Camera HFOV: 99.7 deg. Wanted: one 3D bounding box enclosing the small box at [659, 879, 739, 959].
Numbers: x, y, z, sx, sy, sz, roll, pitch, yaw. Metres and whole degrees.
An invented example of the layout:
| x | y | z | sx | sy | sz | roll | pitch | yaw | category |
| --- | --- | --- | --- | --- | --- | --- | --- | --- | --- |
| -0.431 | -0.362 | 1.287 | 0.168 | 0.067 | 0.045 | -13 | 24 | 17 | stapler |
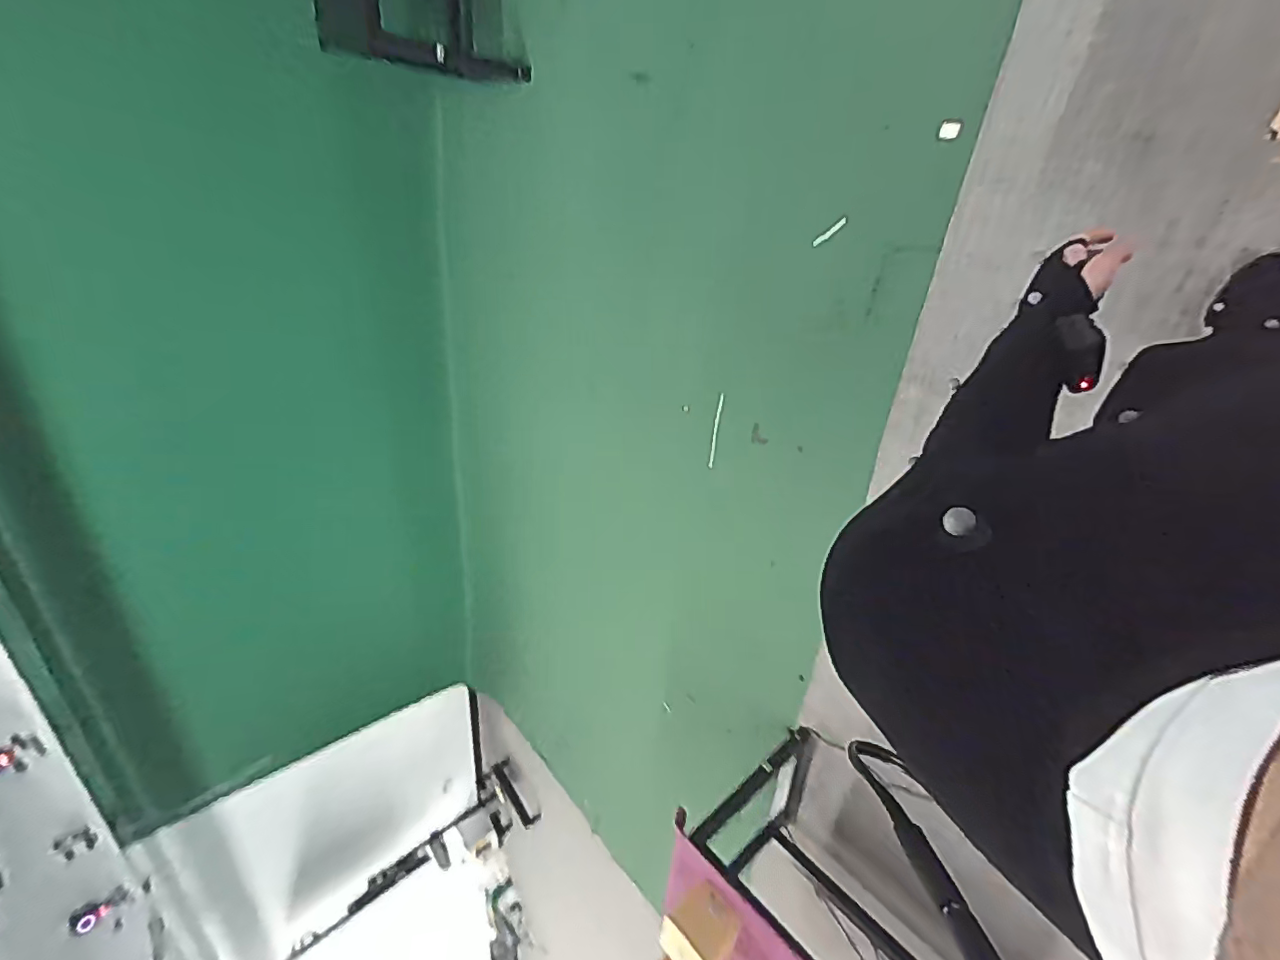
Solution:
| x | y | z | sx | sy | sz | roll | pitch | yaw | category |
| --- | --- | --- | --- | --- | --- | --- | --- | --- | --- |
| 0.180 | 1.377 | 1.640 | 0.168 | 0.176 | 0.179 | 30 | 125 | 38 | small box |
